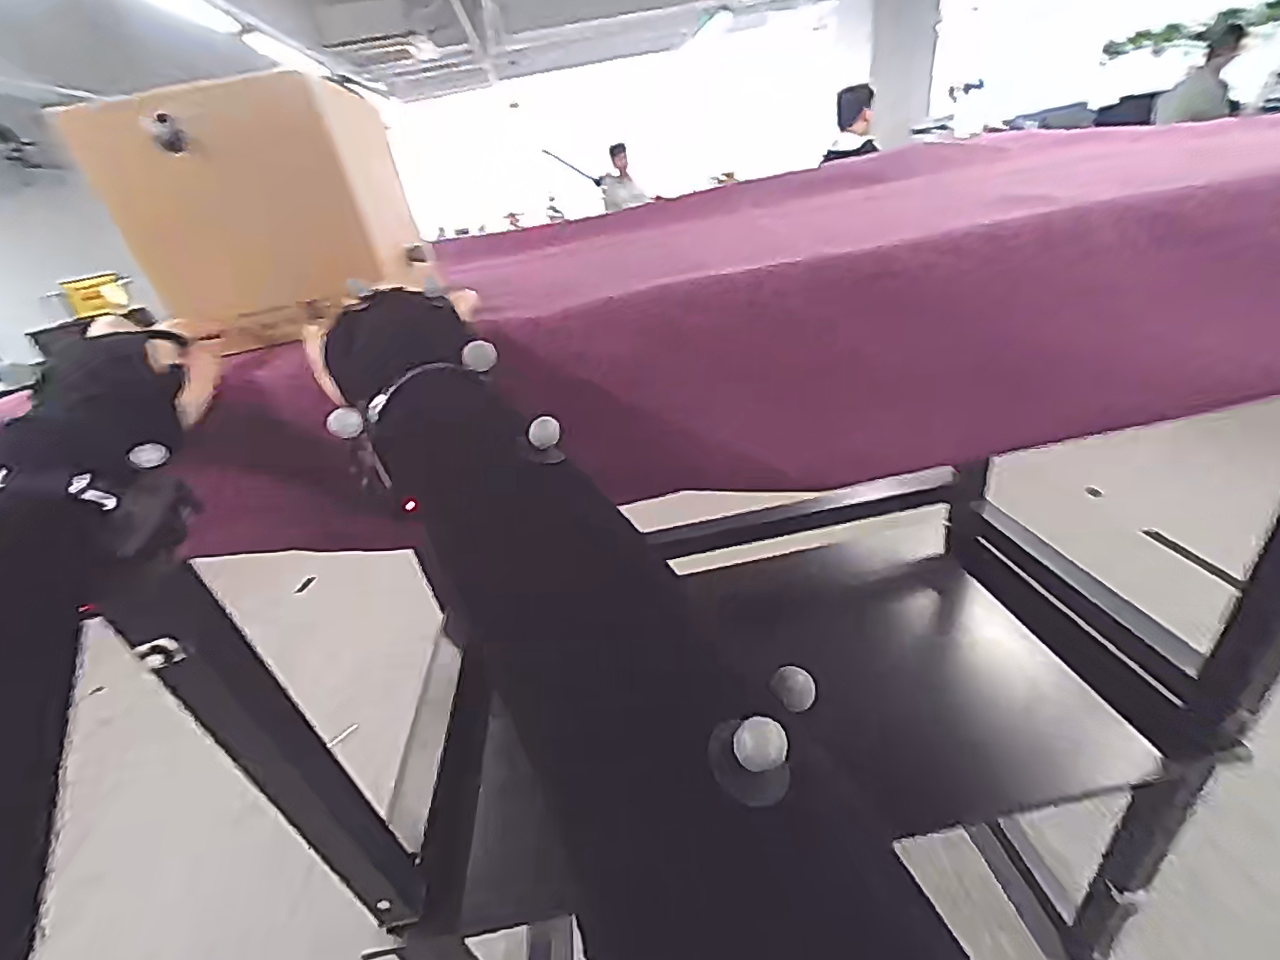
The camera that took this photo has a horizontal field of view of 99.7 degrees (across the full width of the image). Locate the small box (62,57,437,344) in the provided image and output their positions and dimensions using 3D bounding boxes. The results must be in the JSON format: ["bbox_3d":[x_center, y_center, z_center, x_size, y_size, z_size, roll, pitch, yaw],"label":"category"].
[{"bbox_3d":[-0.290,-0.225,0.459,0.168,0.176,0.179,-12,29,-2],"label":"small box"}]
